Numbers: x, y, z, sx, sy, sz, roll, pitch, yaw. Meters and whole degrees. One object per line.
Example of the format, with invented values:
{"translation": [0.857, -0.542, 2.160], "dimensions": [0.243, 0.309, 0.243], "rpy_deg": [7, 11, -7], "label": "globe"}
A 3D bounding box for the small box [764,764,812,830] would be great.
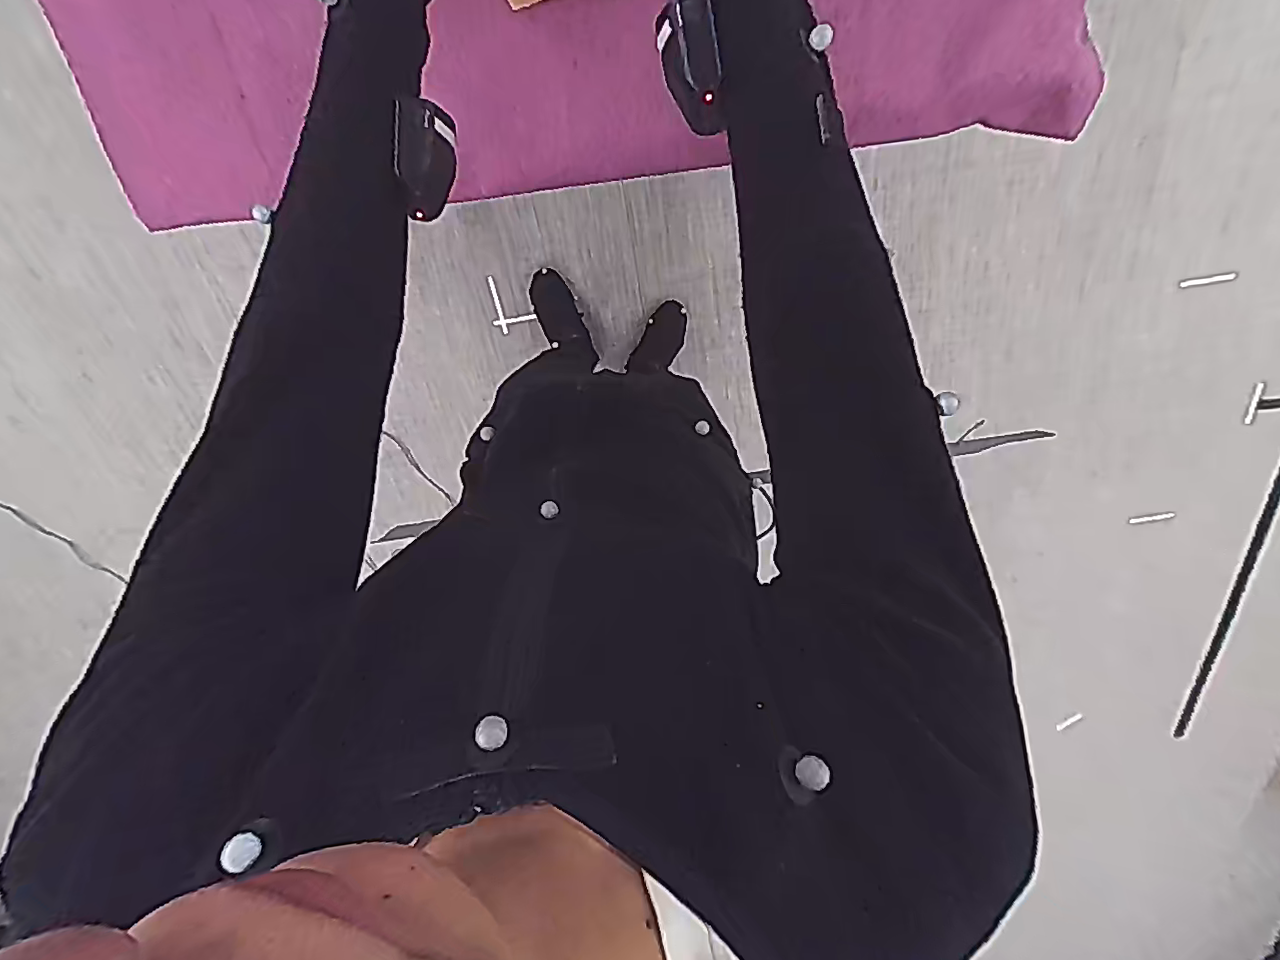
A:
{"translation": [0.651, 1.378, 2.355], "dimensions": [0.168, 0.176, 0.179], "rpy_deg": [-15, 116, 3], "label": "small box"}
